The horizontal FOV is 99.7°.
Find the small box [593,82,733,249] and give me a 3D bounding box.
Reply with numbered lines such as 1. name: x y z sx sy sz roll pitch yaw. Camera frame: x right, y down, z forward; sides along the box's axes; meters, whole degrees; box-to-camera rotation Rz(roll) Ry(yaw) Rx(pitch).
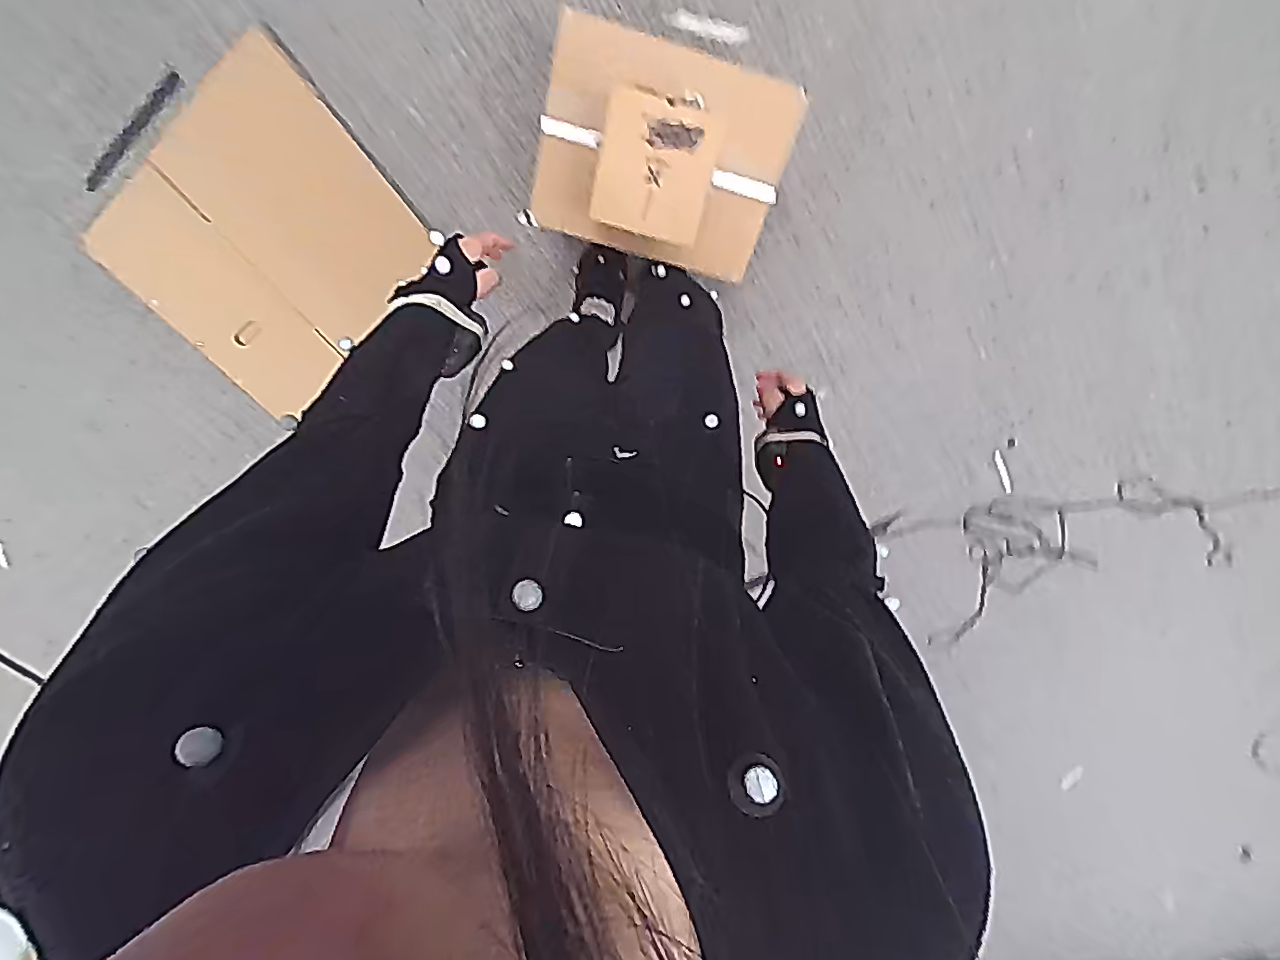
1. small box: 0.029 -0.483 0.842 0.168 0.176 0.179 14 120 -6
